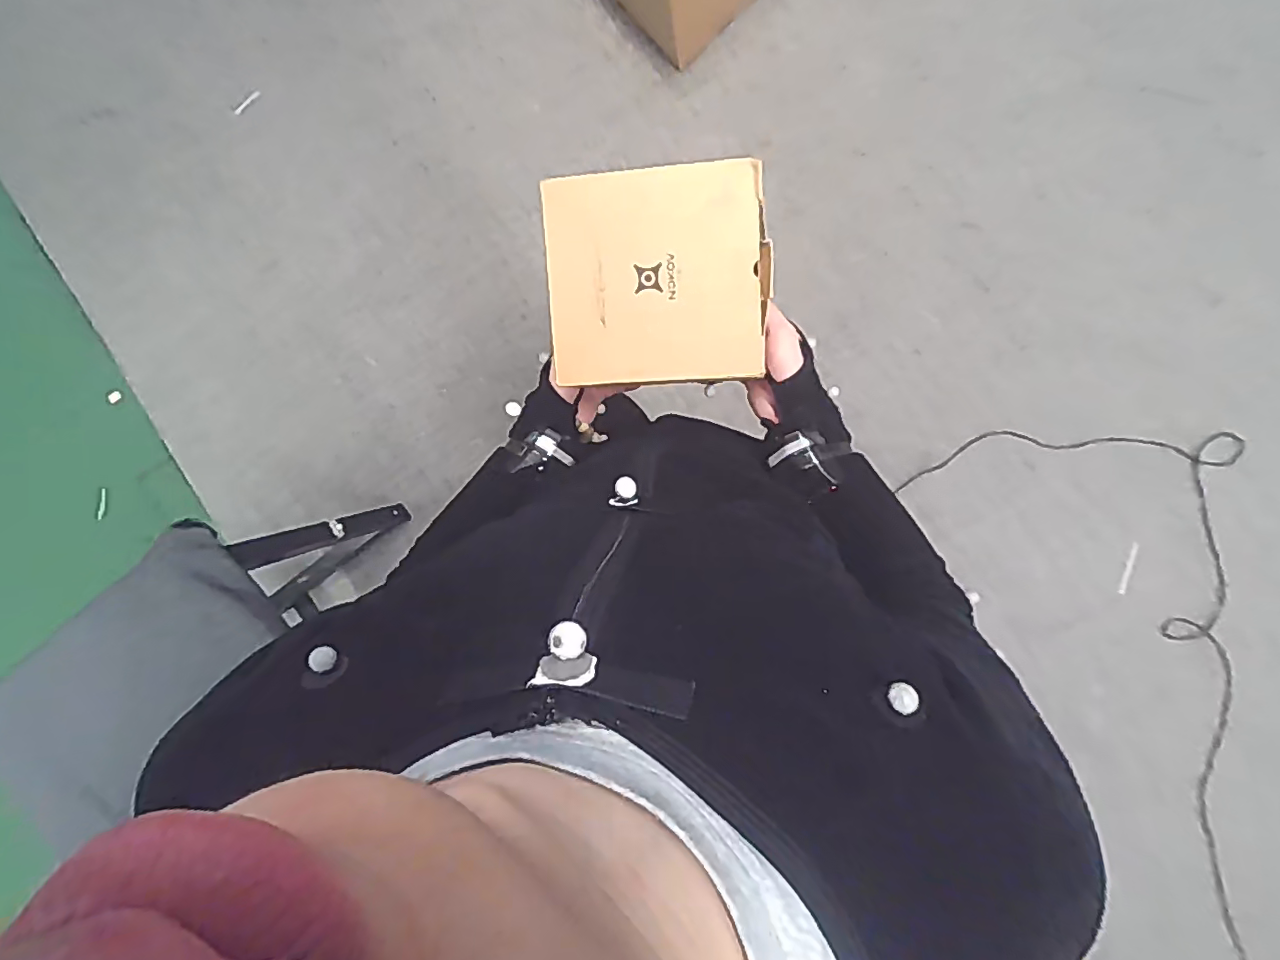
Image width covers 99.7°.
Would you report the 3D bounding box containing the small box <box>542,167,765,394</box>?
[{"bbox_3d":[0.020,-0.170,0.514,0.179,0.176,0.168,-2,98,9],"label":"small box"}]
